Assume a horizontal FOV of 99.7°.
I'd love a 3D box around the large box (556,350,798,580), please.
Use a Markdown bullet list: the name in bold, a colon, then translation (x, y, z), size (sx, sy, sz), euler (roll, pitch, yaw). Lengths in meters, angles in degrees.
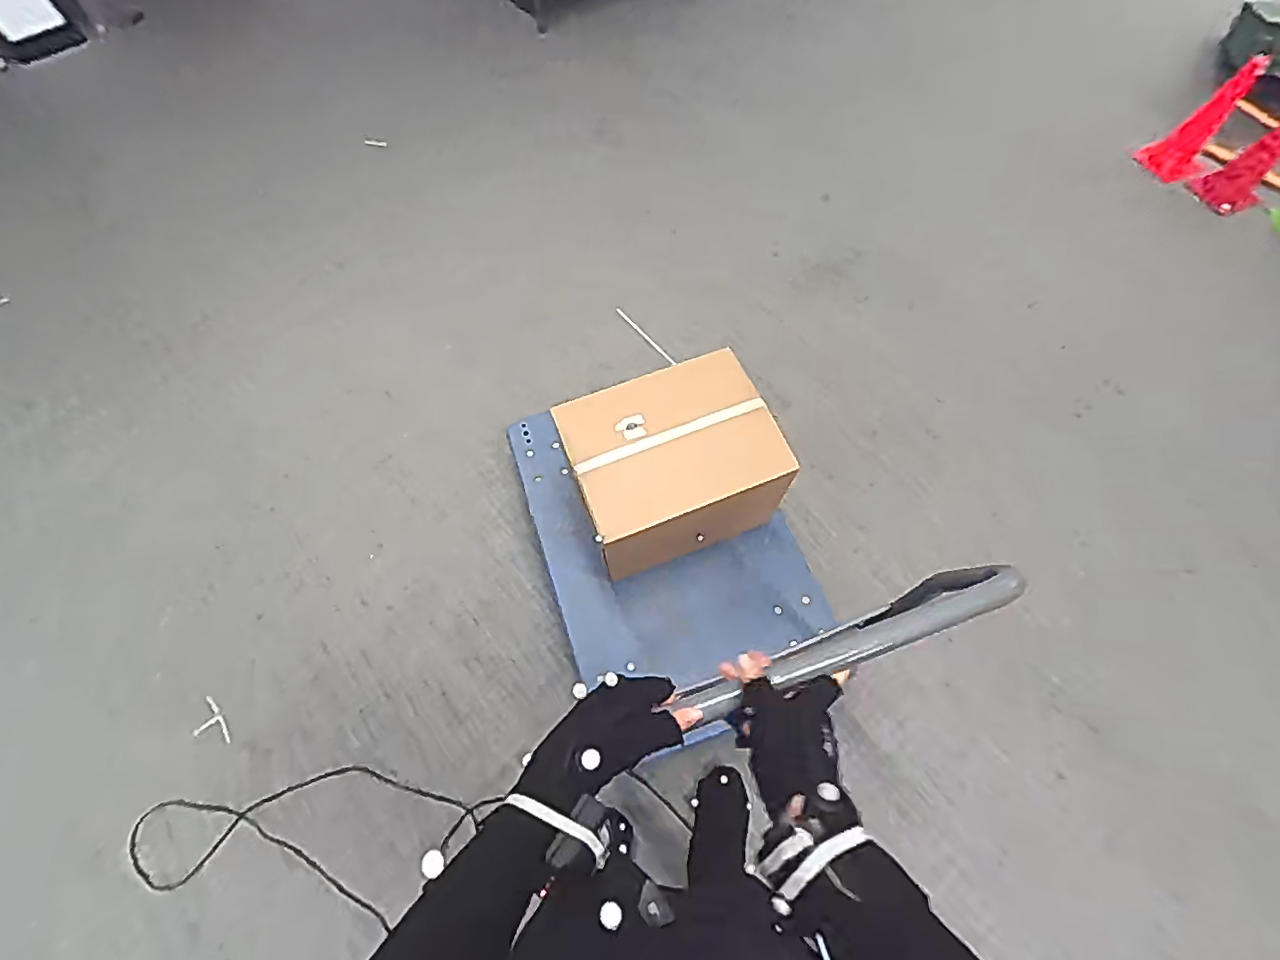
- **large box**: translation (0.072, -0.021, 1.205), size (0.408, 0.320, 0.320), euler (-22, 67, -8)
